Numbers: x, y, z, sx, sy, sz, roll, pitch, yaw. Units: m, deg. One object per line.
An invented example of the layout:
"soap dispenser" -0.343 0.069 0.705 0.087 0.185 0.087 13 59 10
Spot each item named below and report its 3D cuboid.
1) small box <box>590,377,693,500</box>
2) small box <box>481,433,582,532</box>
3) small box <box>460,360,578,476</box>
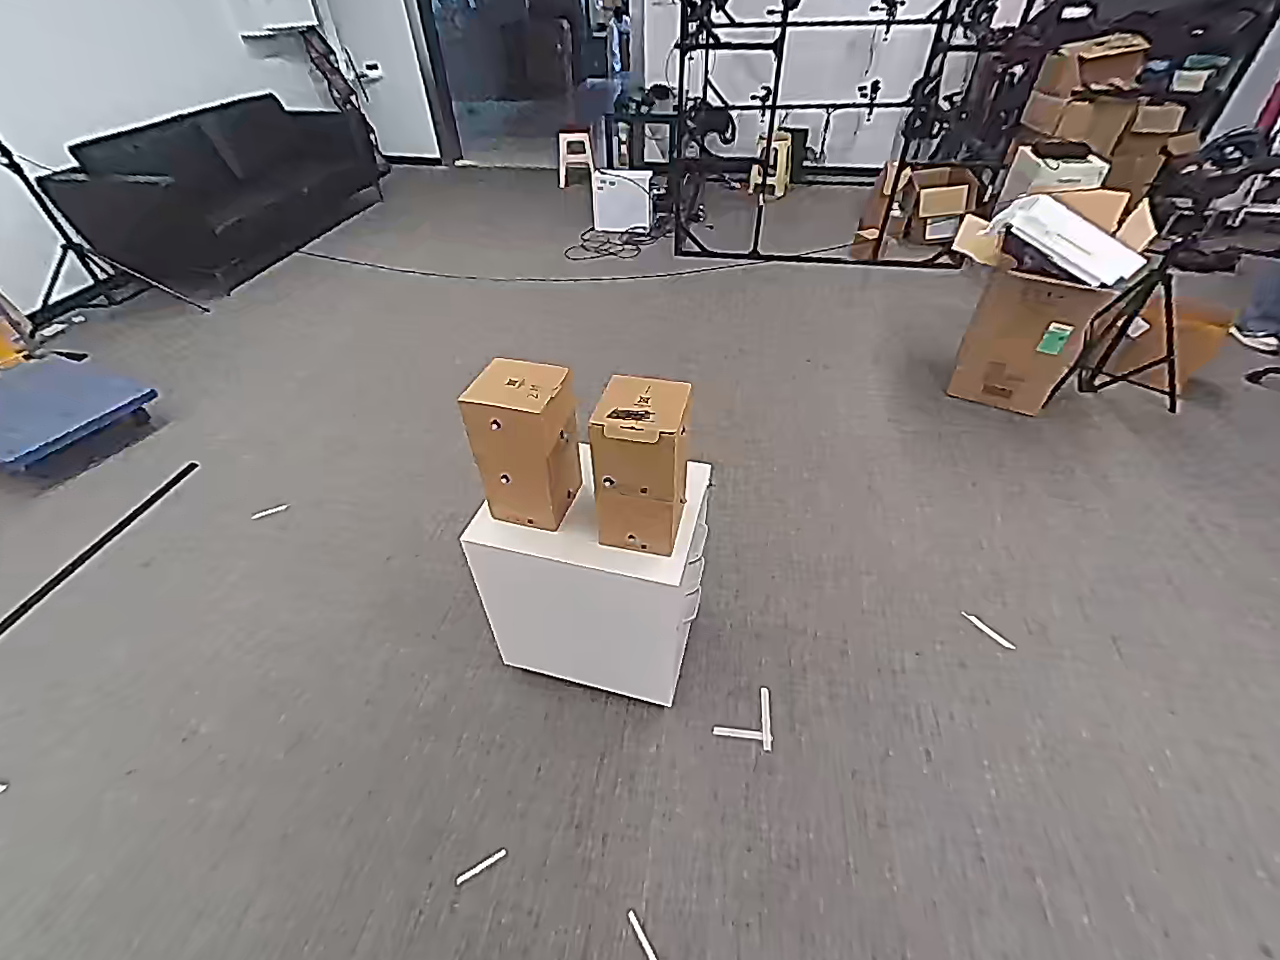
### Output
"small box" 0.009 -0.082 1.080 0.168 0.176 0.179 9 43 11
"small box" -0.239 -0.010 1.247 0.168 0.176 0.179 11 43 13
"small box" -0.242 -0.128 1.132 0.179 0.176 0.168 11 45 12
